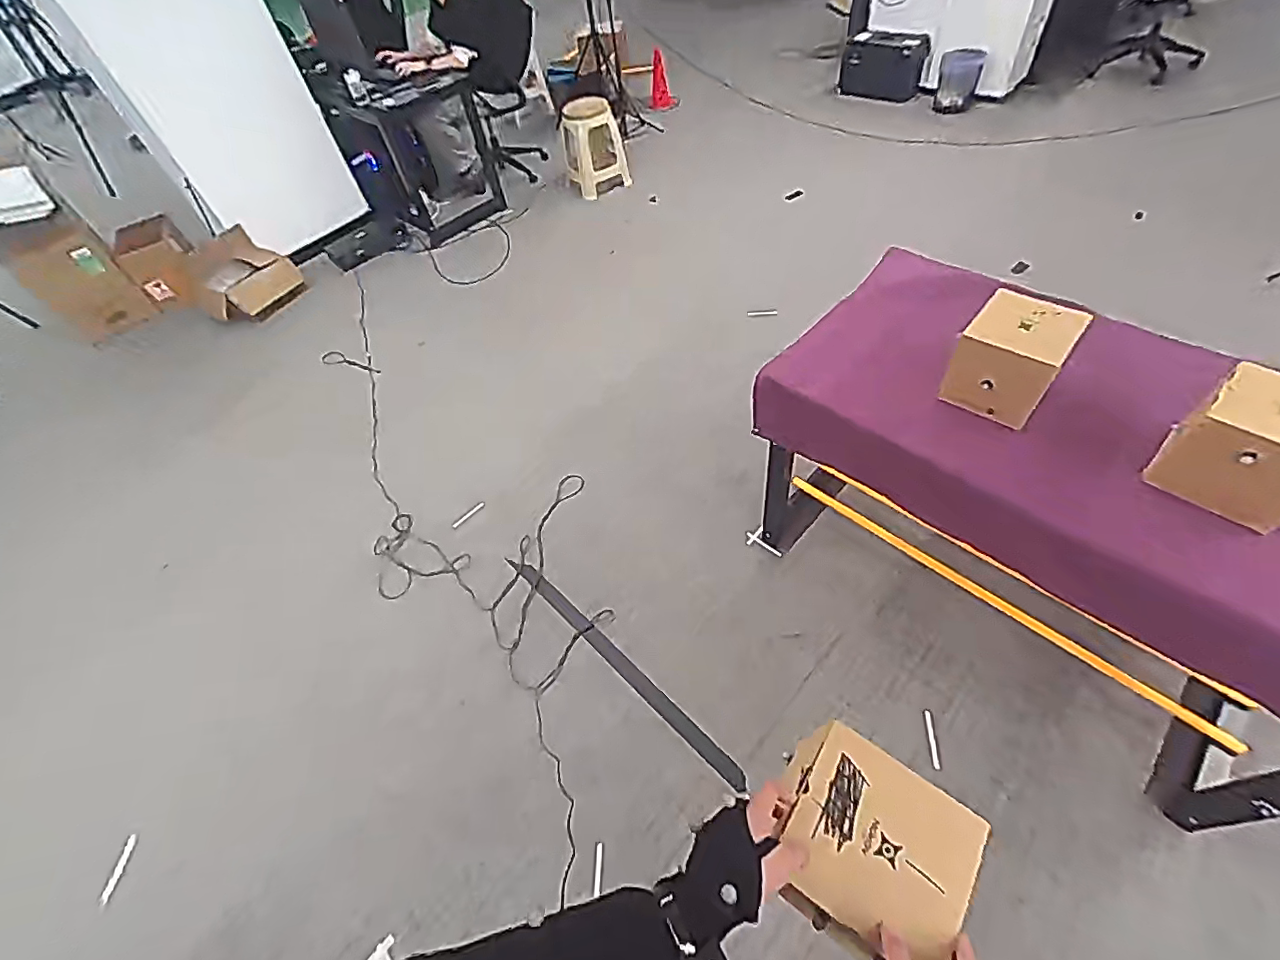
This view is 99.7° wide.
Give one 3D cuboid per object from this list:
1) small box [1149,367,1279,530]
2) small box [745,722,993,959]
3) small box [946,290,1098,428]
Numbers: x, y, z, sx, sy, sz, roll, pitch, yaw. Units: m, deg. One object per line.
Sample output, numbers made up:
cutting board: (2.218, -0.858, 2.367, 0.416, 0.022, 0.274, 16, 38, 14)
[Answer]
small box: (0.998, -0.044, 0.872, 0.168, 0.176, 0.179, -39, 56, -20)
small box: (0.237, 0.407, 0.600, 0.179, 0.176, 0.168, 32, 61, 18)
small box: (0.731, -0.232, 1.055, 0.168, 0.176, 0.179, 34, 64, 29)
